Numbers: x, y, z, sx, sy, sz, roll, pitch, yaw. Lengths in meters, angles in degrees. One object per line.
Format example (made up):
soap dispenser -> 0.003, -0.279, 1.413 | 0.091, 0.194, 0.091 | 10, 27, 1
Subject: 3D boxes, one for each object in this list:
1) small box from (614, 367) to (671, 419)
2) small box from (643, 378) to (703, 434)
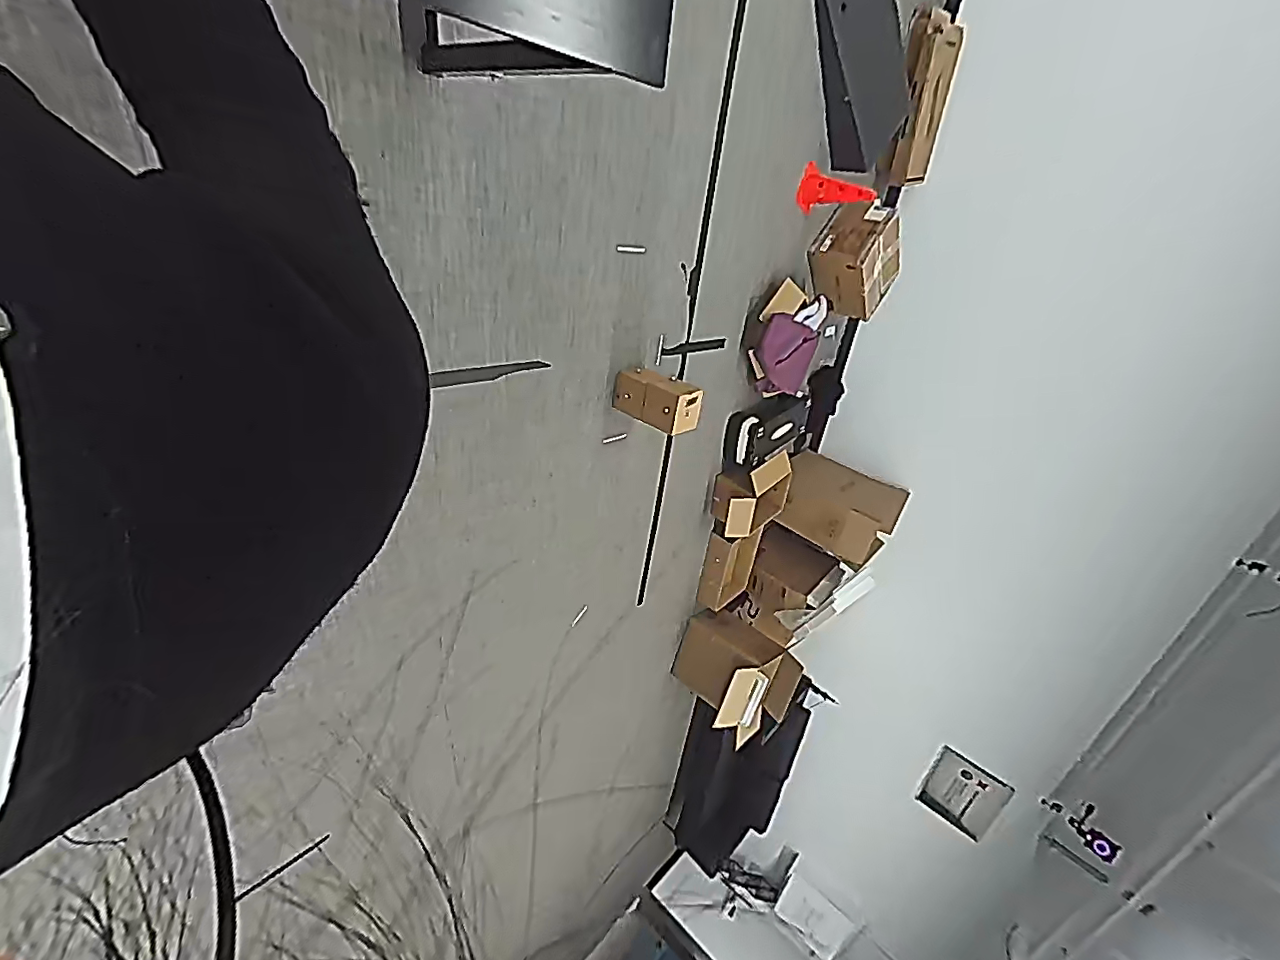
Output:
small box -> 0.010, -0.378, 2.332 | 0.179, 0.176, 0.168 | -19, 129, -44
small box -> 0.133, -0.314, 2.239 | 0.168, 0.176, 0.179 | -22, 132, -44
